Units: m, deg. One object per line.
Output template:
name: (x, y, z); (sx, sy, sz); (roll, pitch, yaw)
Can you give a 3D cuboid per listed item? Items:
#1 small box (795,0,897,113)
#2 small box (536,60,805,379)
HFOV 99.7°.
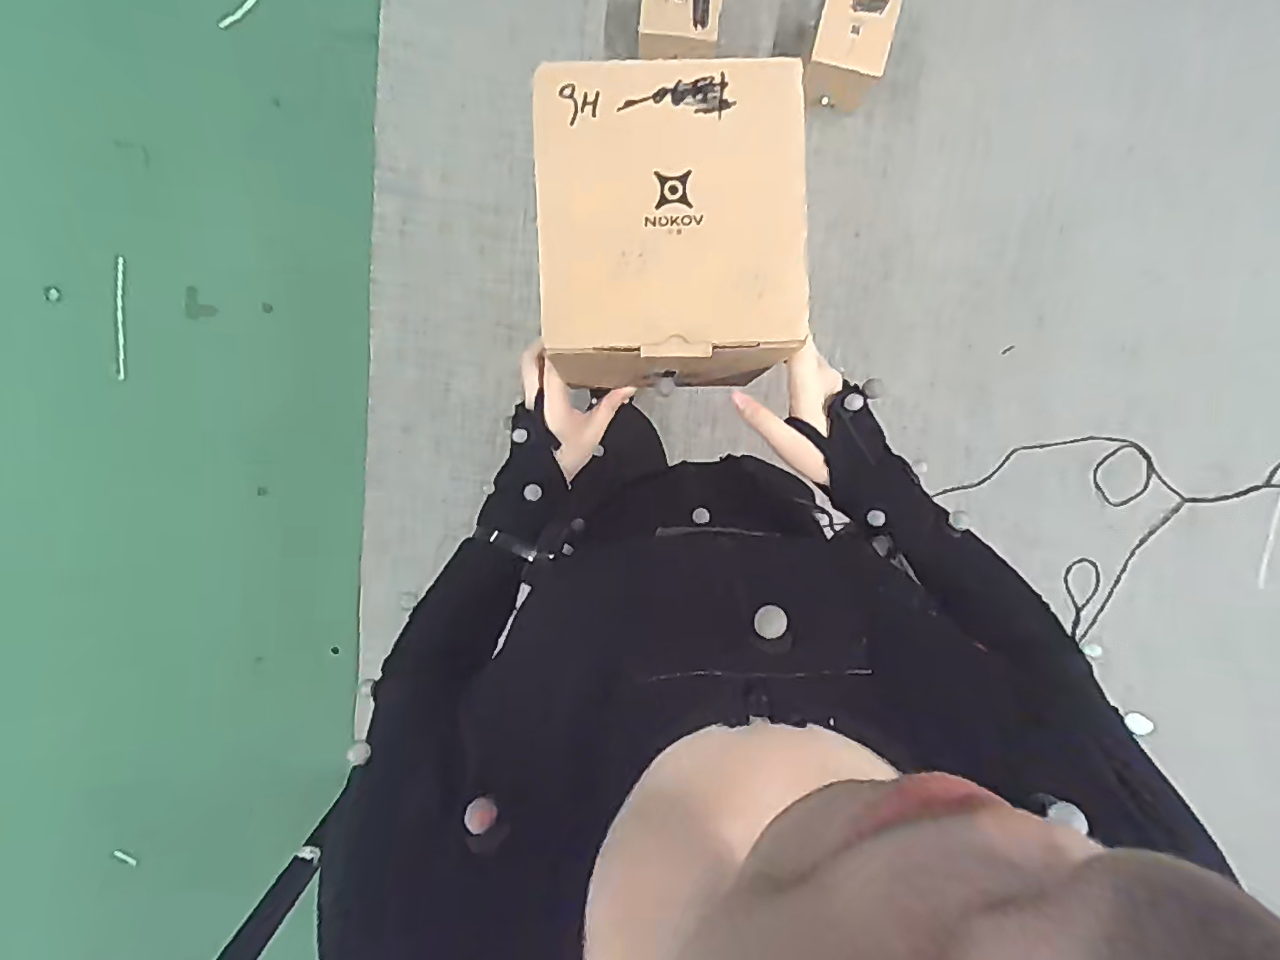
small box: (0.460, -1.000, 1.252); (0.168, 0.176, 0.179); (12, 99, -2)
small box: (0.018, -0.171, 0.411); (0.168, 0.176, 0.179); (-2, 93, -2)
